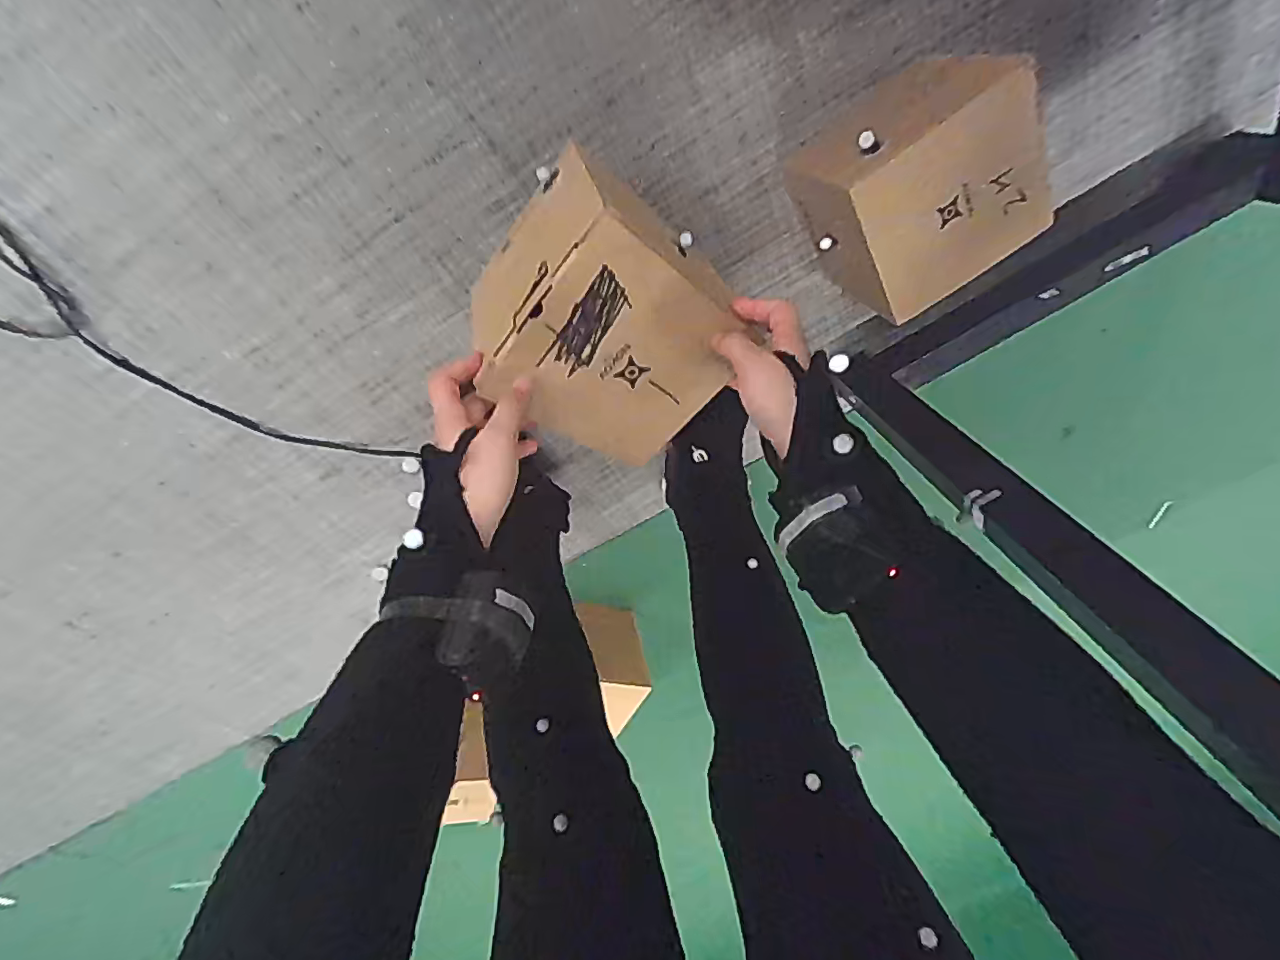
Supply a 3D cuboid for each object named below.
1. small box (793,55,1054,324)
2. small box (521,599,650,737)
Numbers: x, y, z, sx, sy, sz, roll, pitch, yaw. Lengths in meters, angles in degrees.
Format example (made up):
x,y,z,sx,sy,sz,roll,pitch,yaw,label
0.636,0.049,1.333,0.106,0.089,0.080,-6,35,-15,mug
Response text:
x,y,z,sx,sy,sz,roll,pitch,yaw,label
0.285,-0.306,0.576,0.179,0.176,0.168,-34,127,13,small box
-0.106,0.336,0.973,0.179,0.176,0.168,16,121,-22,small box
